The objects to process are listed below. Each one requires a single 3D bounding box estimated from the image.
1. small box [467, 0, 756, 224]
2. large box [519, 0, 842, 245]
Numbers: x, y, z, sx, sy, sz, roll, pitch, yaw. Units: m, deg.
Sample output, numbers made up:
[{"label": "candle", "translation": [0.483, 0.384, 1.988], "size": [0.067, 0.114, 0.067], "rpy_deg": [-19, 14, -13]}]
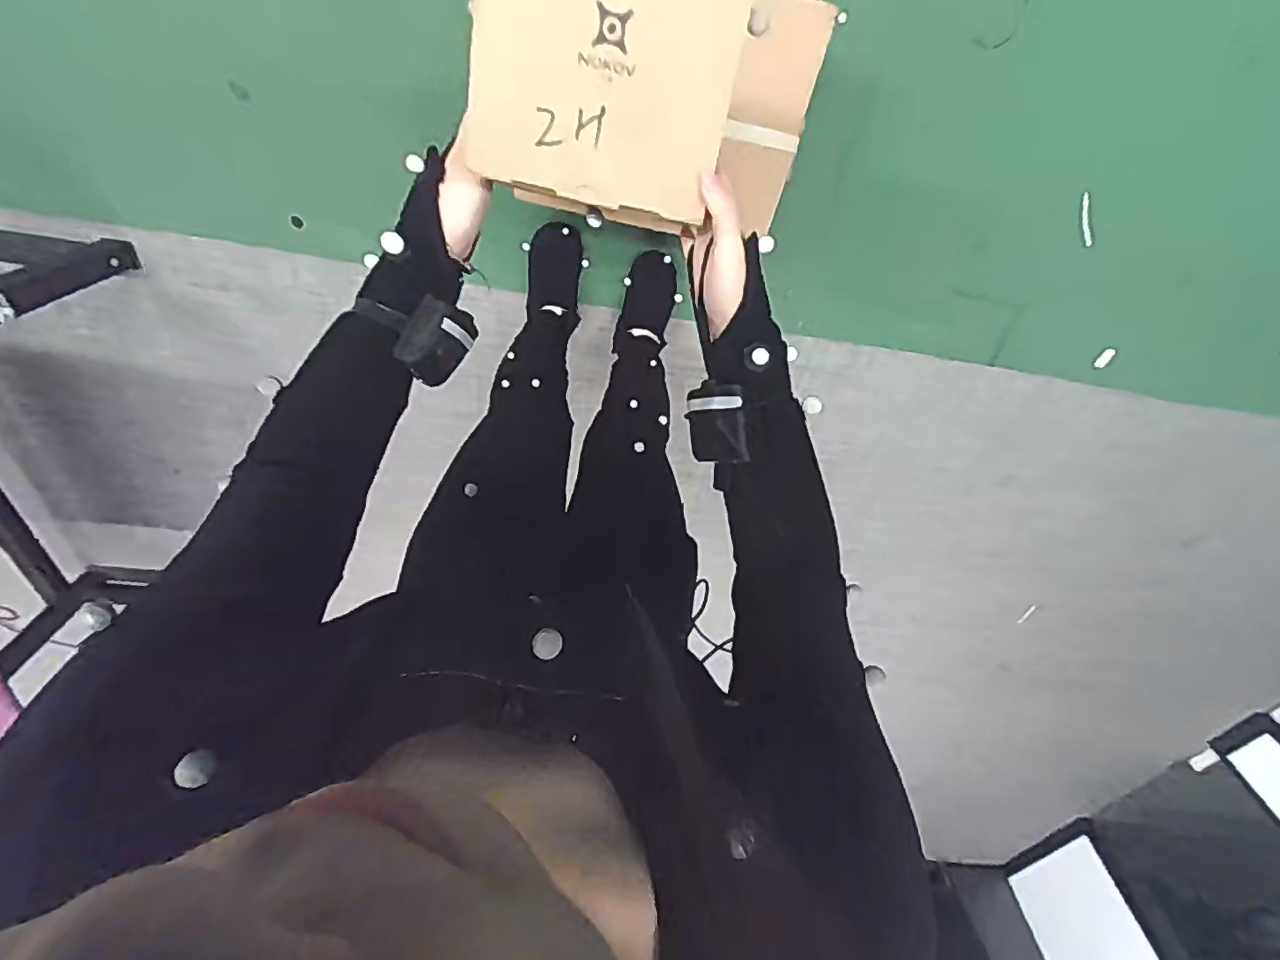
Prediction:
[{"label": "small box", "translation": [-0.019, -0.302, 0.403], "size": [0.168, 0.176, 0.179], "rpy_deg": [10, 115, -5]}, {"label": "large box", "translation": [0.033, -0.612, 0.871], "size": [0.408, 0.320, 0.320], "rpy_deg": [8, 128, -8]}]
